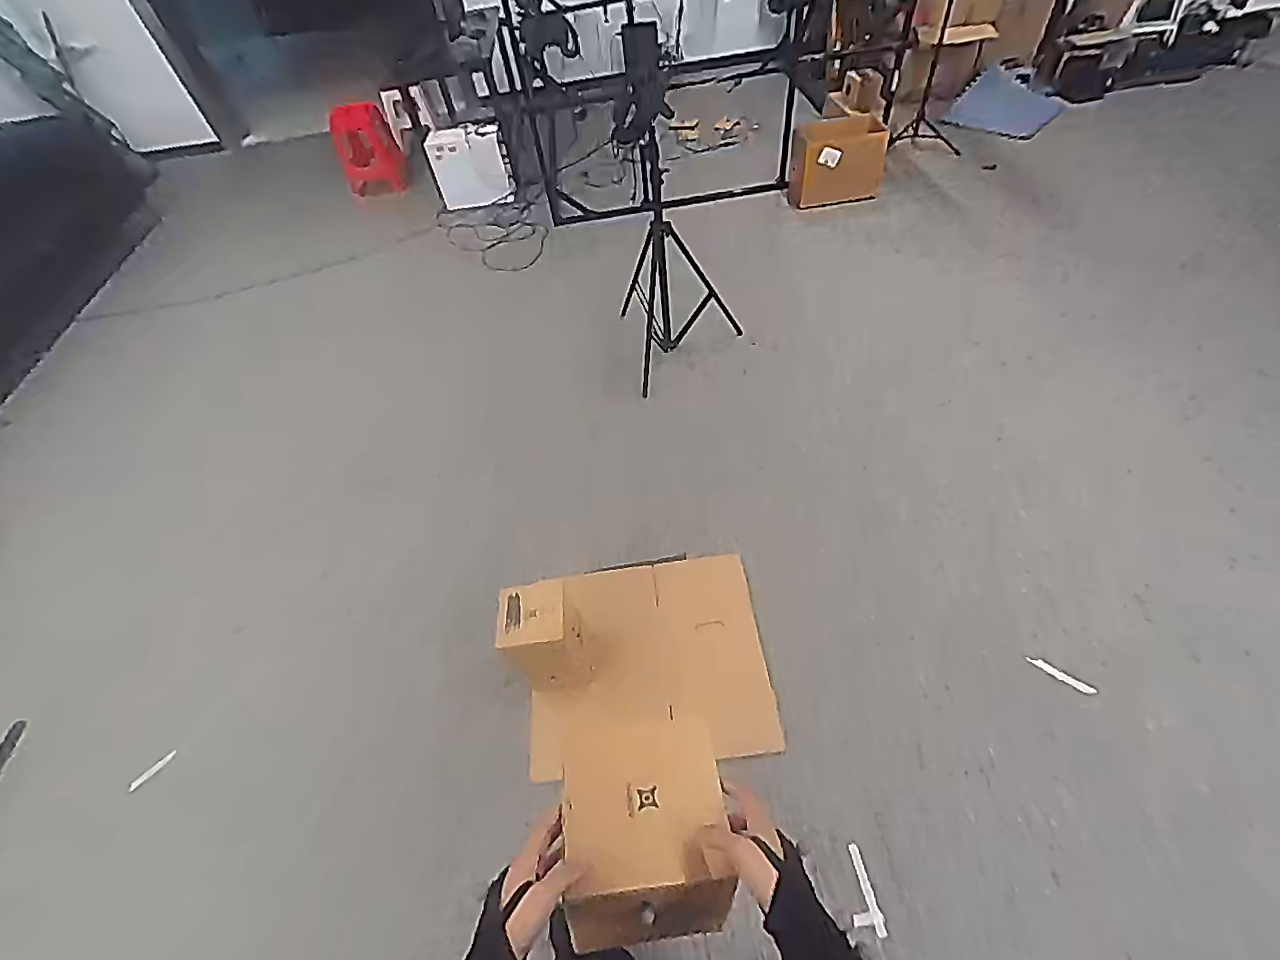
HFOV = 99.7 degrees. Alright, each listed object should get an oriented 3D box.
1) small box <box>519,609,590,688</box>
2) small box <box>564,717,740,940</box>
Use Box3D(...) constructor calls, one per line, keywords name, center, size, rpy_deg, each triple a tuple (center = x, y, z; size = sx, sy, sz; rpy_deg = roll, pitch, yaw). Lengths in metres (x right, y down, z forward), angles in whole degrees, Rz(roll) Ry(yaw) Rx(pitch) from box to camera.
Box3D(name="small box", center=(-0.242, 0.495, 1.582), size=(0.179, 0.176, 0.168), rpy_deg=(-9, 51, 2))
Box3D(name="small box", center=(0.006, 0.407, 0.636), size=(0.179, 0.176, 0.168), rpy_deg=(-5, 36, -4))
